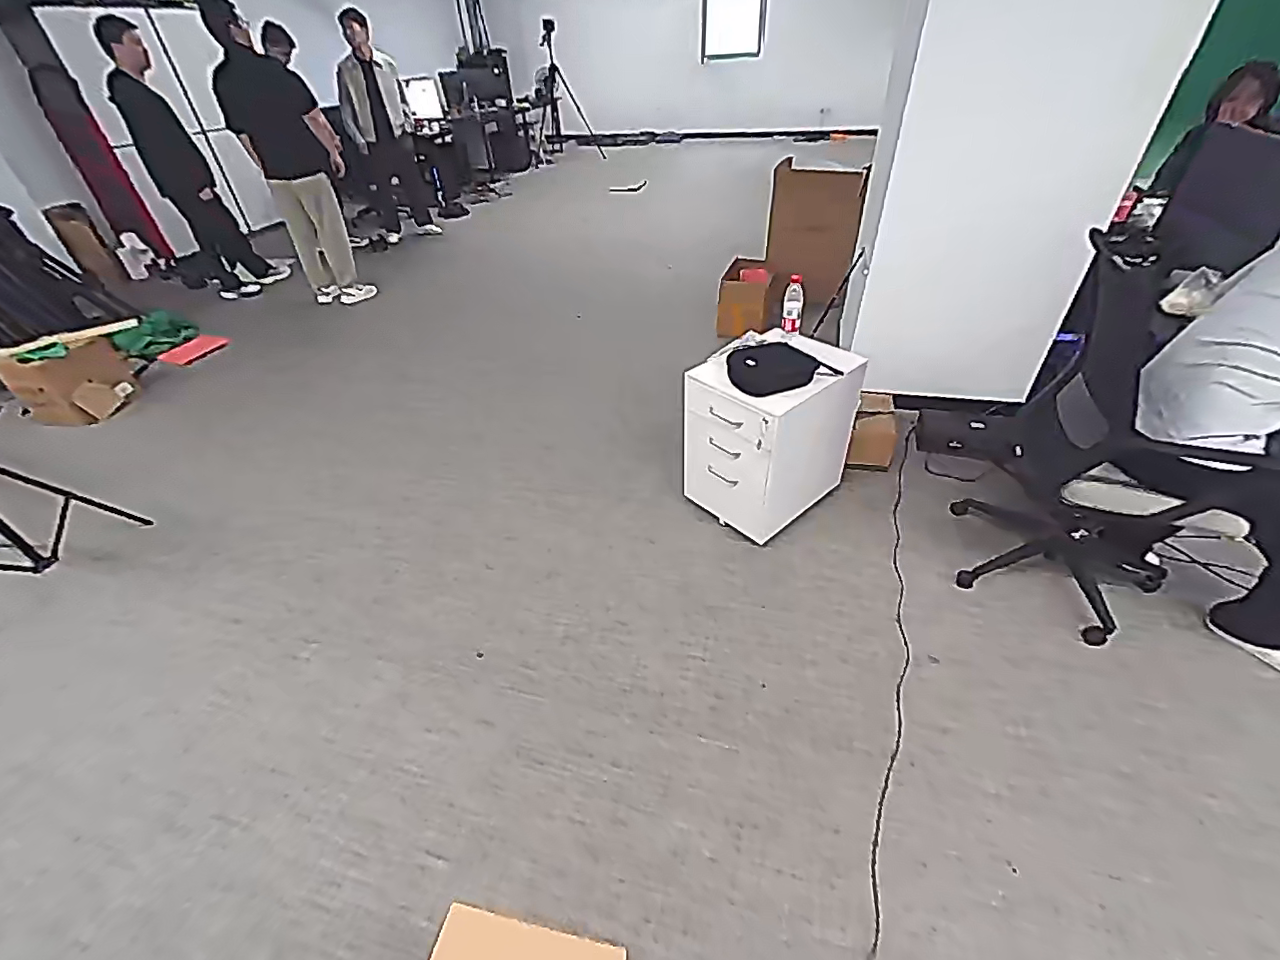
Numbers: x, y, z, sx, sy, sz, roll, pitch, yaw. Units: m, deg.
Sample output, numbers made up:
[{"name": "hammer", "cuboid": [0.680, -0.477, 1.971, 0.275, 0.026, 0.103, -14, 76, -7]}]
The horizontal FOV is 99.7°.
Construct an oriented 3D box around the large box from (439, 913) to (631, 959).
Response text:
[{"name": "large box", "cuboid": [-0.184, 0.985, 0.906, 0.320, 0.408, 0.320, 7, 42, 11]}]
